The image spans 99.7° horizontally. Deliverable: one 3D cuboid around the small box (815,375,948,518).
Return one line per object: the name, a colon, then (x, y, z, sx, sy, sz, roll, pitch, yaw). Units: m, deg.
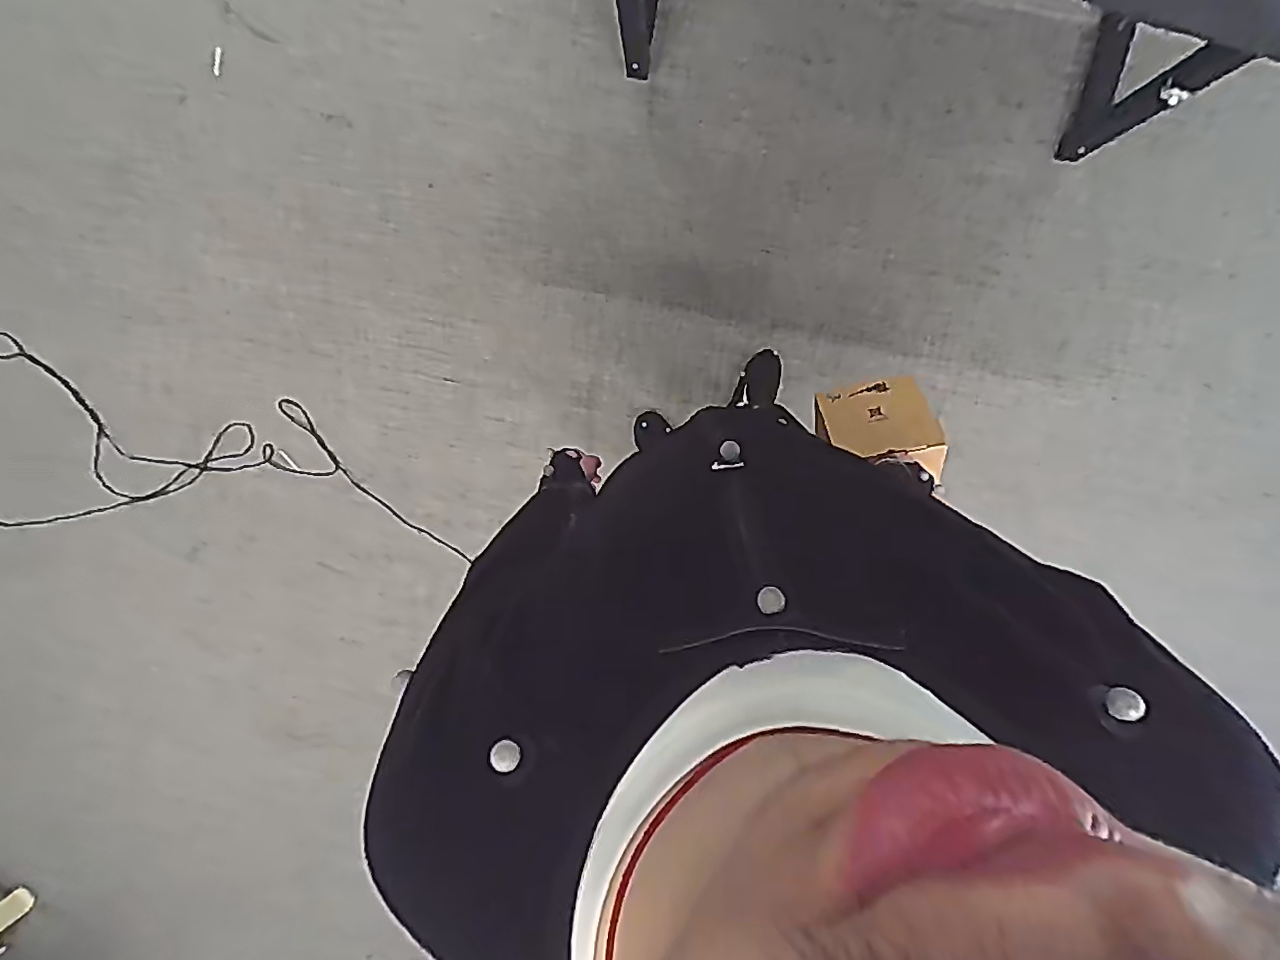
small box: (0.417, -0.049, 0.952, 0.168, 0.179, 0.176, -13, 137, 11)
